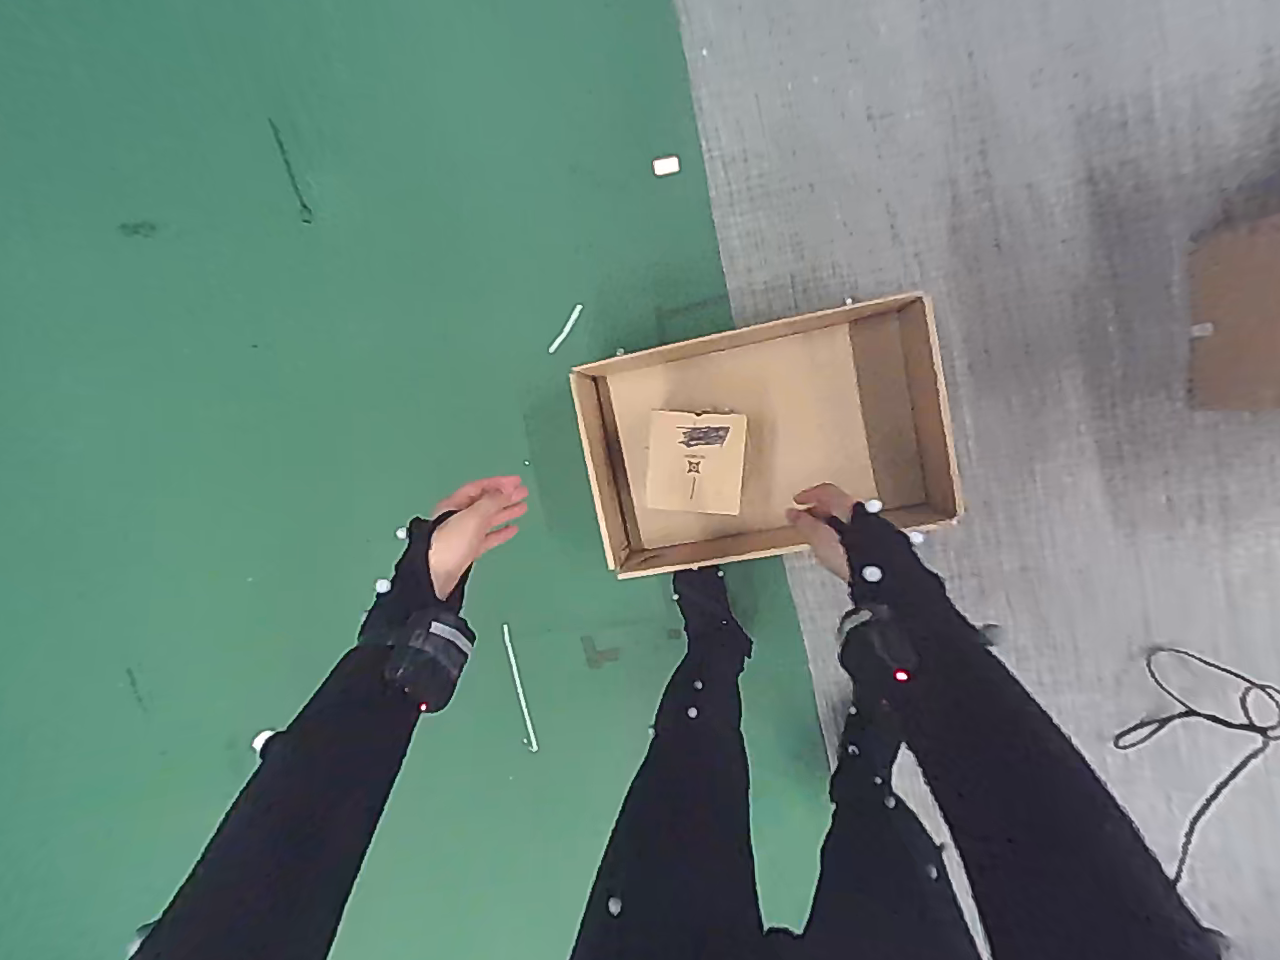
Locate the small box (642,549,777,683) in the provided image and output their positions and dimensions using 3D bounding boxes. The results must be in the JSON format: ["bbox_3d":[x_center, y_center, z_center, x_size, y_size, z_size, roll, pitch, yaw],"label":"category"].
[{"bbox_3d":[0.143,0.268,1.075,0.176,0.168,0.179,39,77,-27],"label":"small box"}]

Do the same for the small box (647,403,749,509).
[{"bbox_3d":[0.106,-0.050,1.008,0.168,0.176,0.179,4,98,7],"label":"small box"}]
